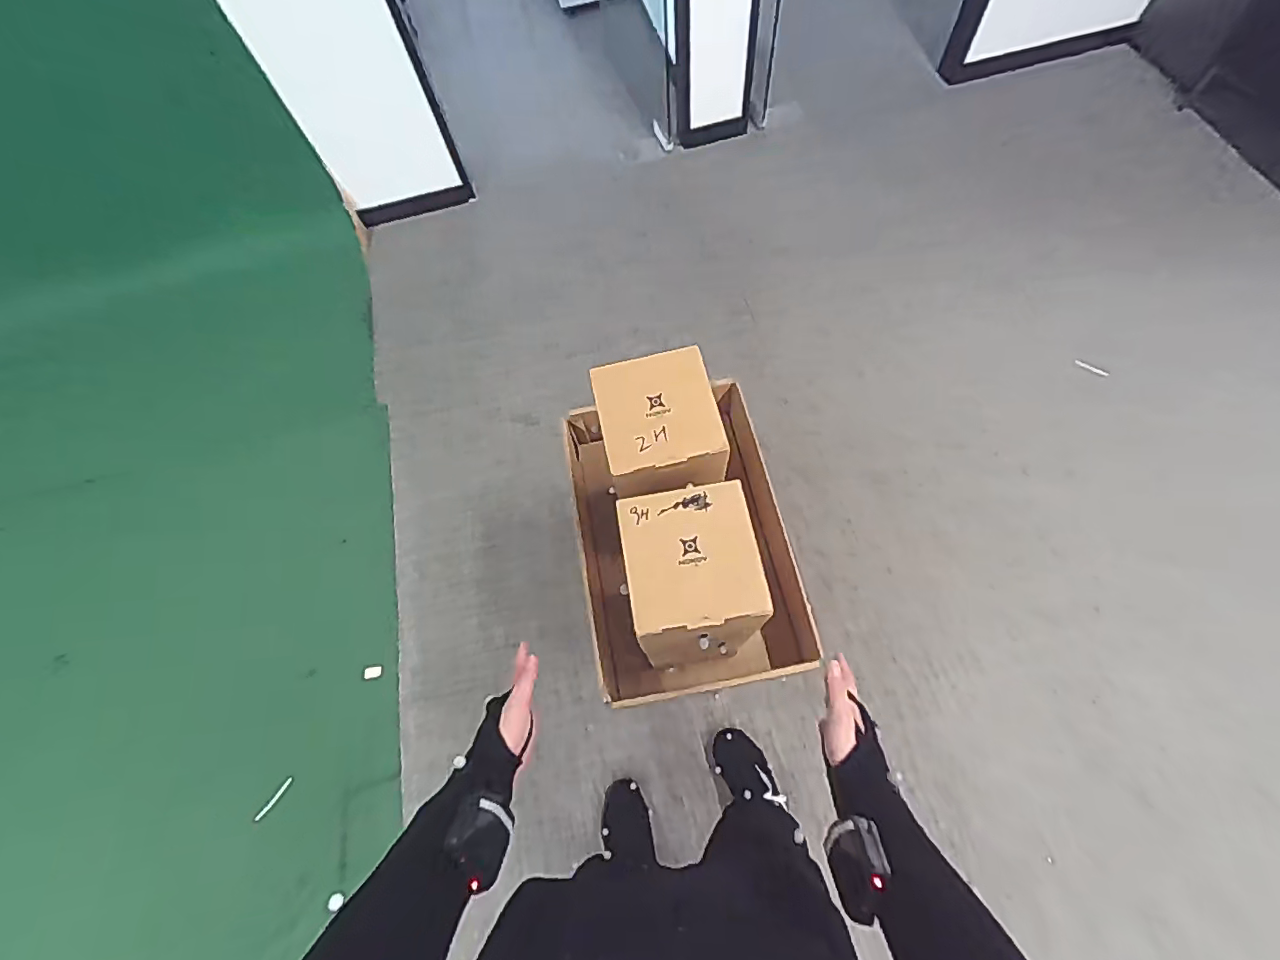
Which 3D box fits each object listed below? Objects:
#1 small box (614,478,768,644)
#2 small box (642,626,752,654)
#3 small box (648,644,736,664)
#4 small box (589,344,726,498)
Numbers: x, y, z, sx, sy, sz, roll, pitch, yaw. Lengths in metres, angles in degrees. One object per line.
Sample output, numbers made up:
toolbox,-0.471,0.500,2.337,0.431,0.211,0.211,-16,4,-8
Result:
small box,0.065,0.120,0.735,0.168,0.176,0.179,-10,66,0
small box,0.080,0.182,0.886,0.168,0.176,0.179,-9,65,1
small box,0.090,0.248,1.035,0.168,0.176,0.179,-11,64,0
small box,0.025,-0.075,0.829,0.168,0.176,0.179,-13,68,0
